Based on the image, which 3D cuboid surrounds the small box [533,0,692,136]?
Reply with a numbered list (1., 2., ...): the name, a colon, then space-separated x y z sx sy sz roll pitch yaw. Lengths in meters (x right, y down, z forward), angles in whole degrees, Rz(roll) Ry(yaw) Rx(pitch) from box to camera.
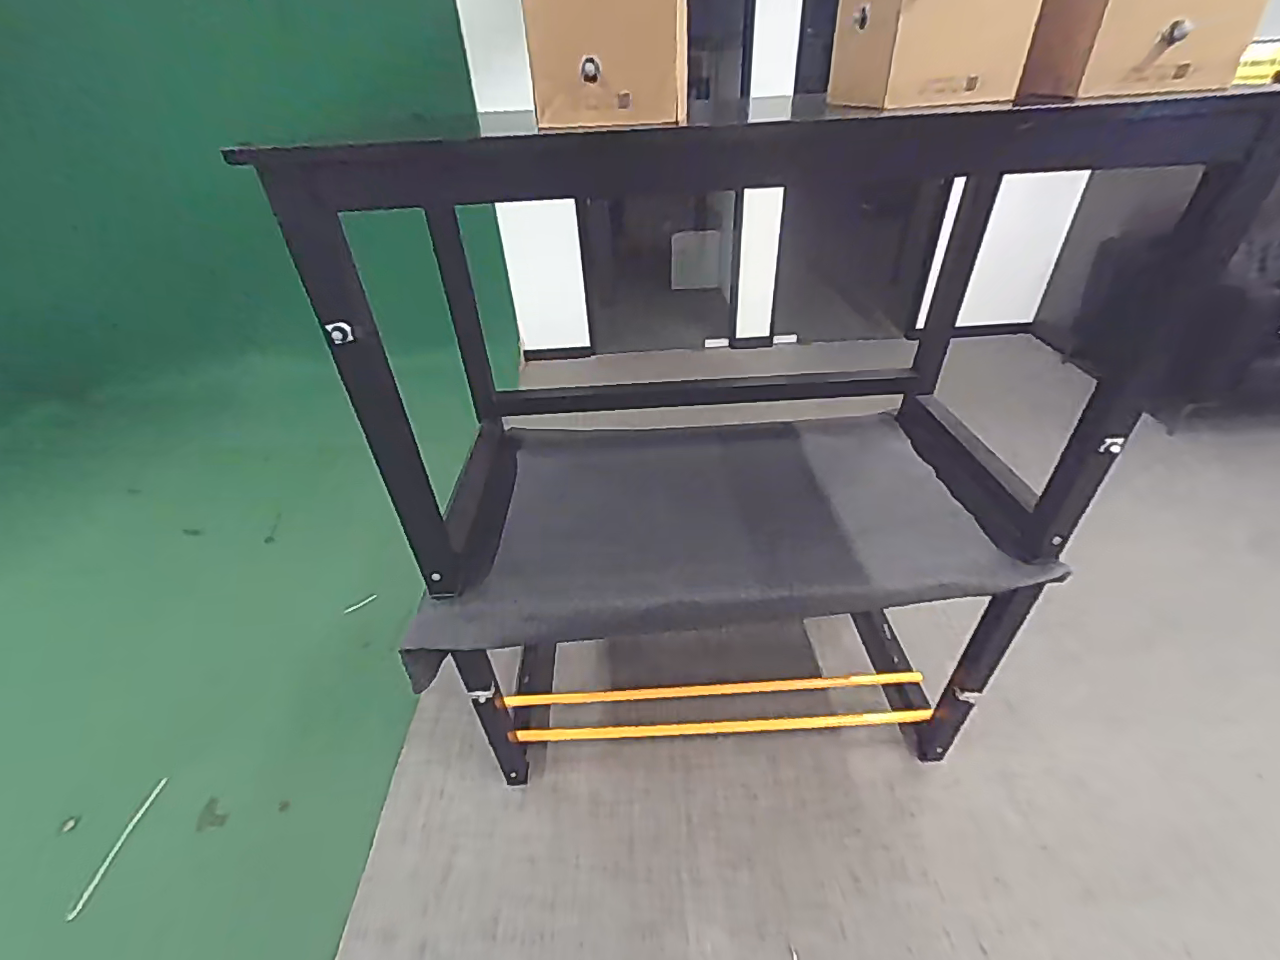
1. small box: -0.025 -0.519 0.646 0.168 0.176 0.179 2 37 6
